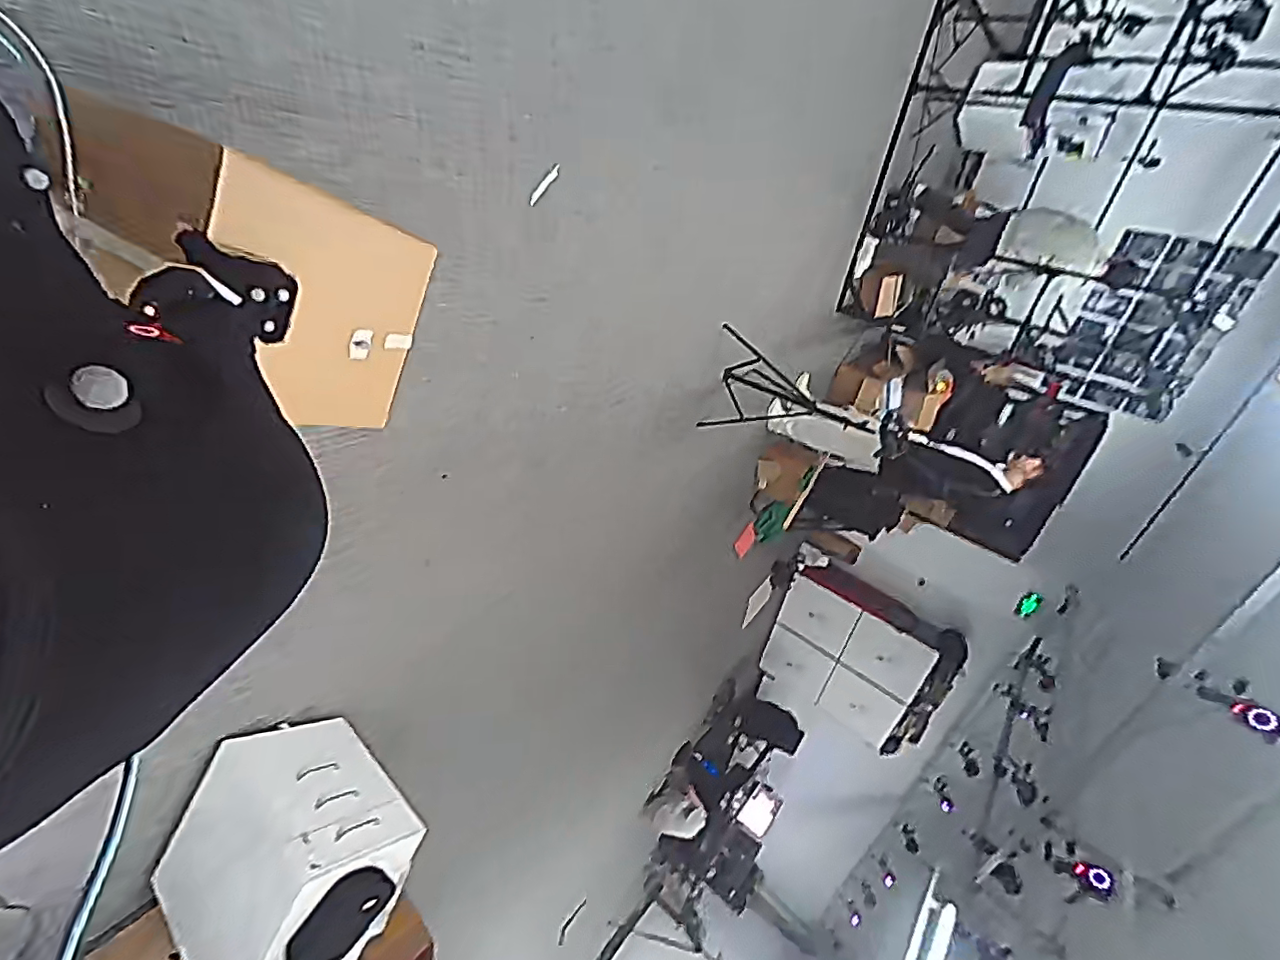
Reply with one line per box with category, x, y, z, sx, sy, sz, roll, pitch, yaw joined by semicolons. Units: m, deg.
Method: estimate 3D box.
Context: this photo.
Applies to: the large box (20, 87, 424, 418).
large box;-0.608;-0.308;0.810;0.320;0.408;0.320;-7;121;-66
